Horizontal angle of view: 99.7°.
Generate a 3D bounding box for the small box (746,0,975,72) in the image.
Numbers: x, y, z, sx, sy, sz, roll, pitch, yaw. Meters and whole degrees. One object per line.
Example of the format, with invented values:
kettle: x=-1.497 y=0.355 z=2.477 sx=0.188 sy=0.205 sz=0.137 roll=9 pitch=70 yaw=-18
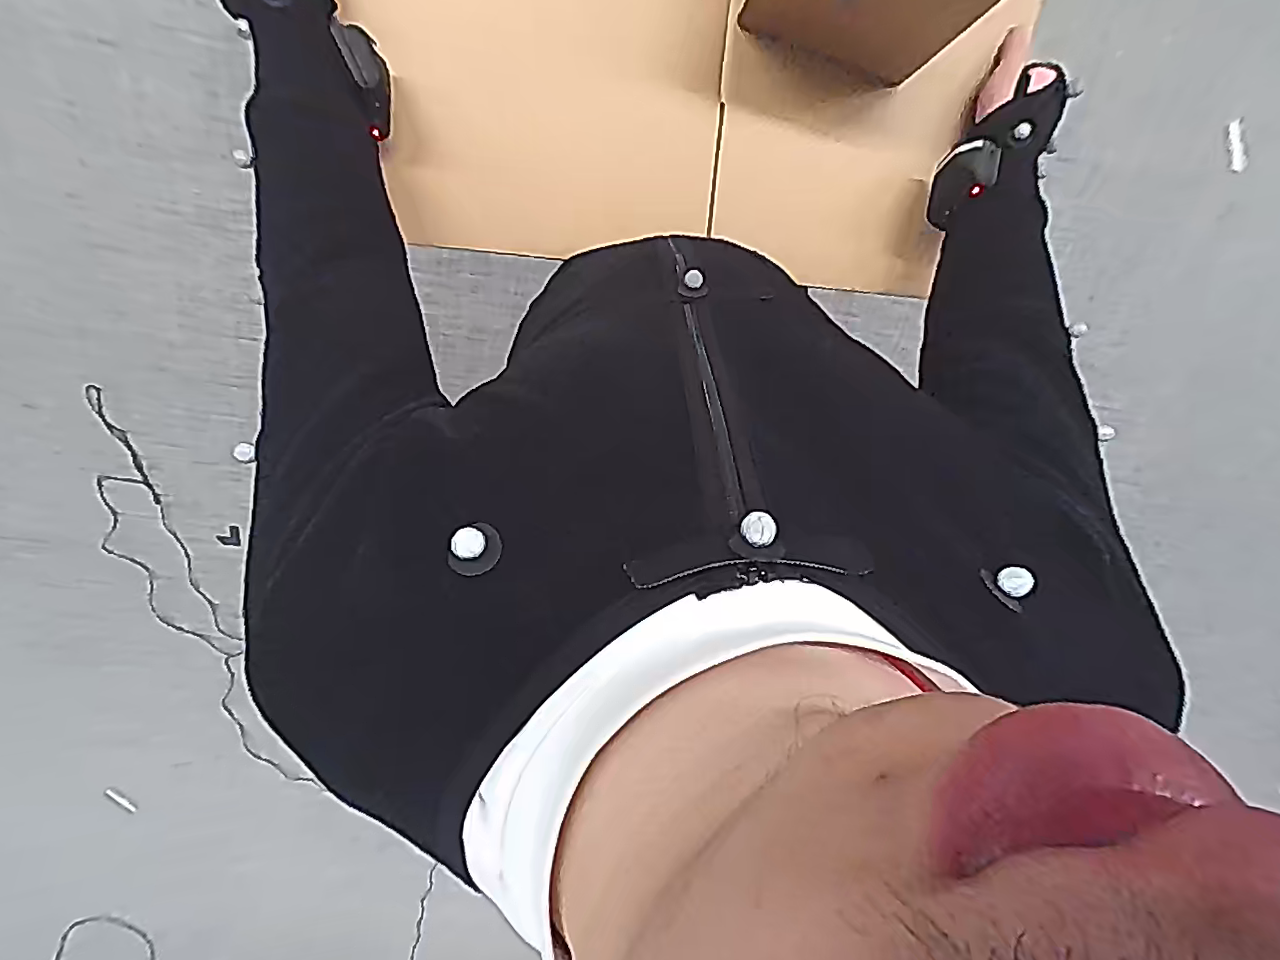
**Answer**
small box: x=0.201 y=-0.469 z=0.427 sx=0.179 sy=0.176 sz=0.168 roll=14 pitch=104 yaw=-7
